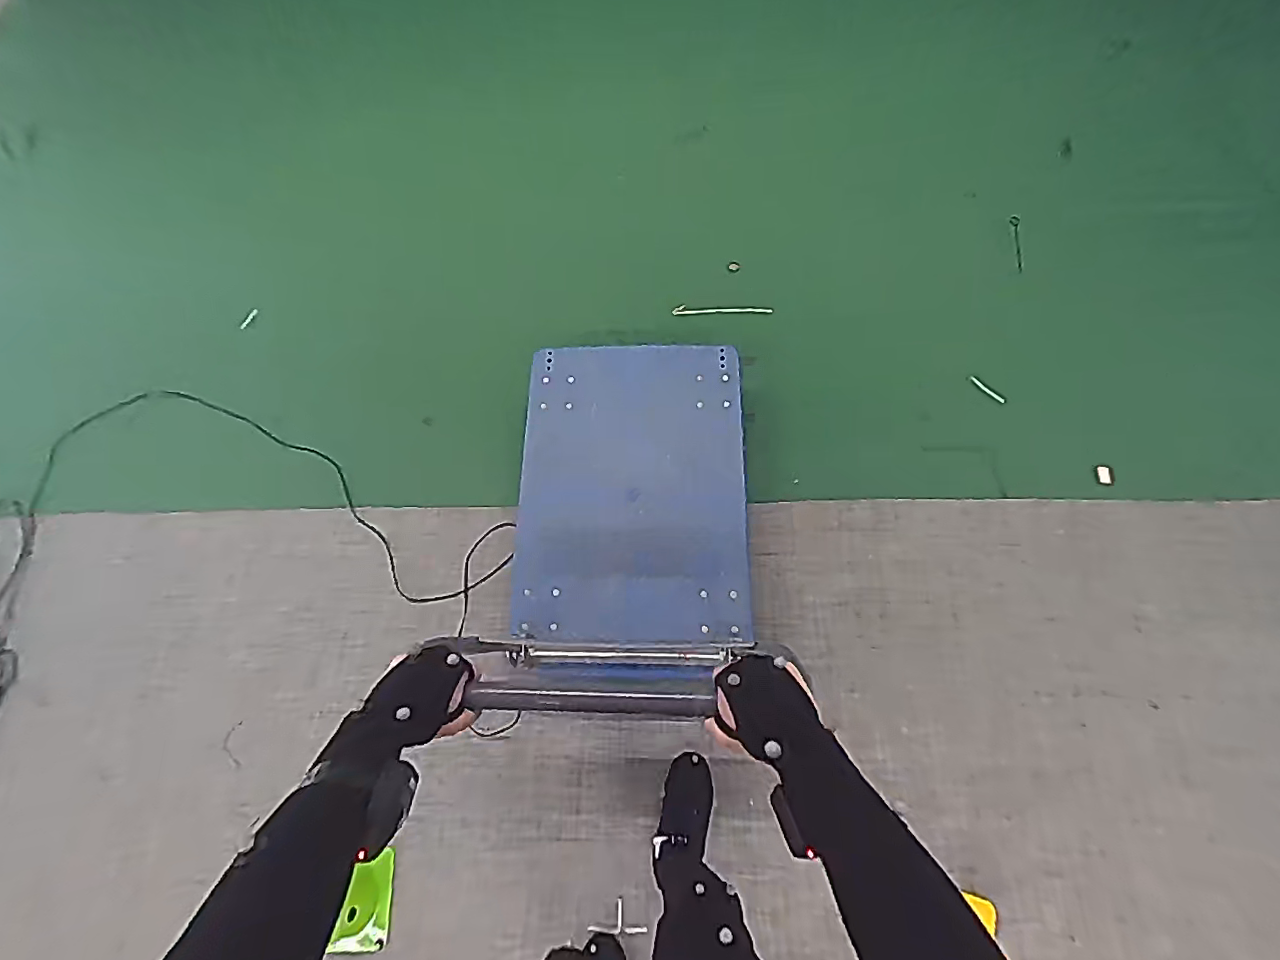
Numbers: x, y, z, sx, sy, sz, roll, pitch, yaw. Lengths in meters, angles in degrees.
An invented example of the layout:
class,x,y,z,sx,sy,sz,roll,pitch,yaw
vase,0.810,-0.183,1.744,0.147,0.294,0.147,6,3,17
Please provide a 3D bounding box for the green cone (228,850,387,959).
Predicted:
class,x,y,z,sx,sy,sz,roll,pitch,yaw
green cone,-0.697,0.908,1.077,0.202,0.368,0.200,-5,70,4
